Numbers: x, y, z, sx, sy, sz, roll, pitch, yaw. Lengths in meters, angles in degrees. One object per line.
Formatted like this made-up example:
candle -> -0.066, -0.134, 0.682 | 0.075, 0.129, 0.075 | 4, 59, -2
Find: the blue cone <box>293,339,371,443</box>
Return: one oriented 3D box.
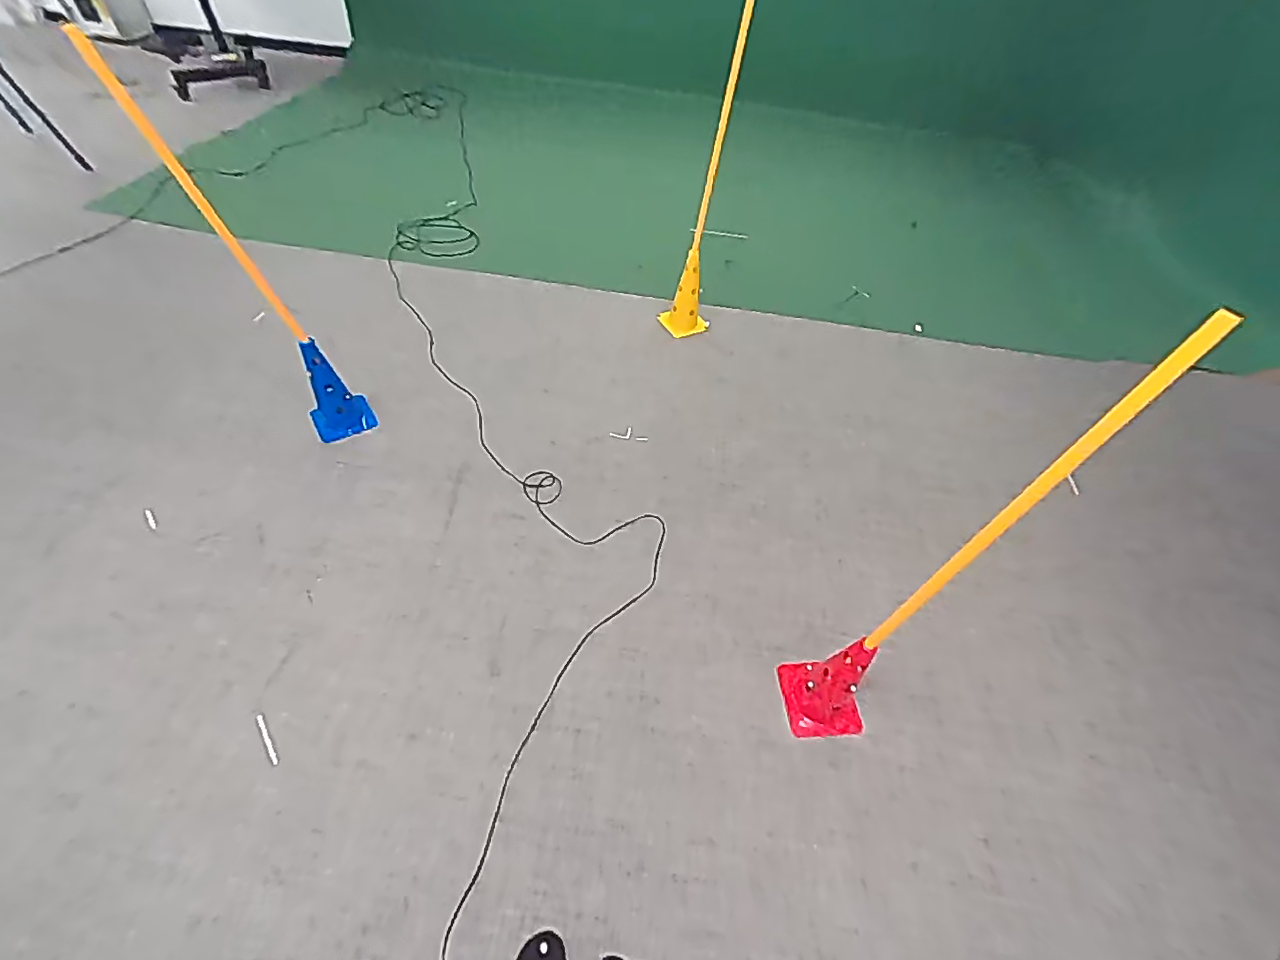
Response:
blue cone -> -1.103, -0.323, 1.879 | 0.193, 0.380, 0.192 | -29, 59, -24
